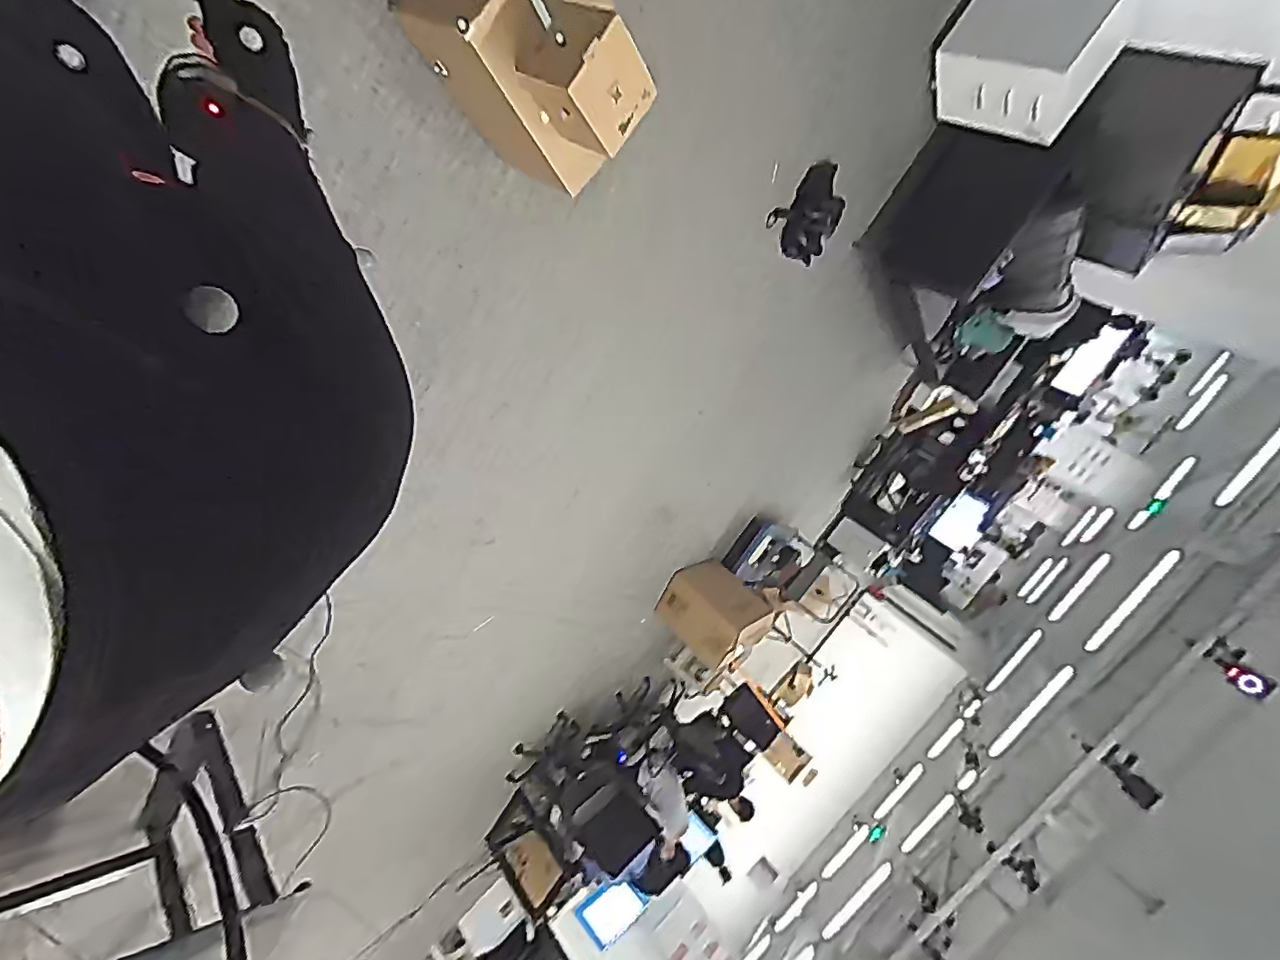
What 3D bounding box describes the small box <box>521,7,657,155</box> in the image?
[{"bbox_3d":[-0.104,-0.803,1.088,0.168,0.176,0.179,-53,149,6],"label":"small box"}]
